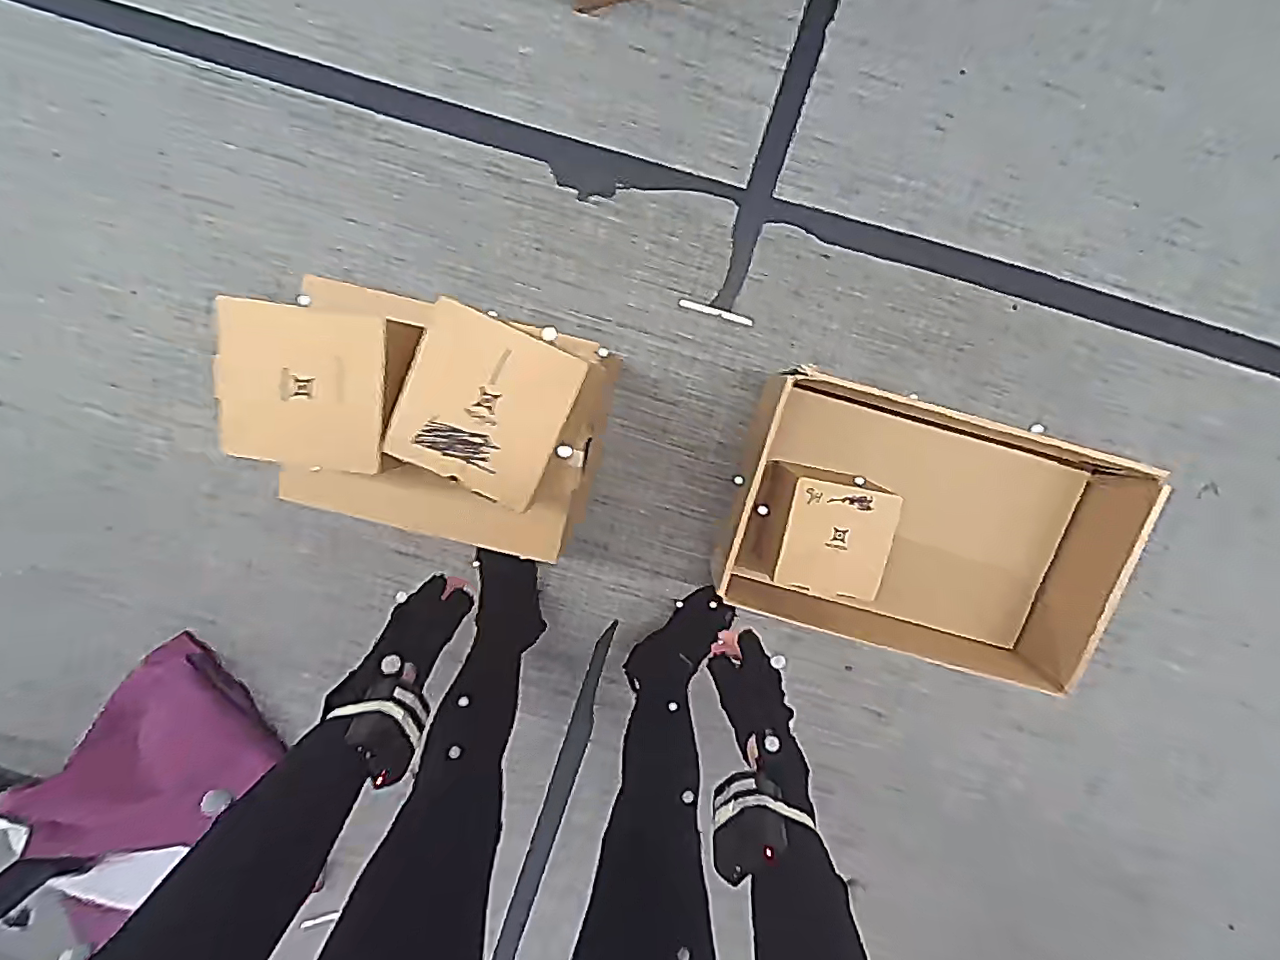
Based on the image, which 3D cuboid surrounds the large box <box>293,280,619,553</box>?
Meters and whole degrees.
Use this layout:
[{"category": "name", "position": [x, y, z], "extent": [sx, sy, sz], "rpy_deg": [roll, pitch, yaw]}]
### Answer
[{"category": "large box", "position": [-0.267, -0.105, 0.888], "extent": [0.408, 0.320, 0.320], "rpy_deg": [12, 101, -1]}]
